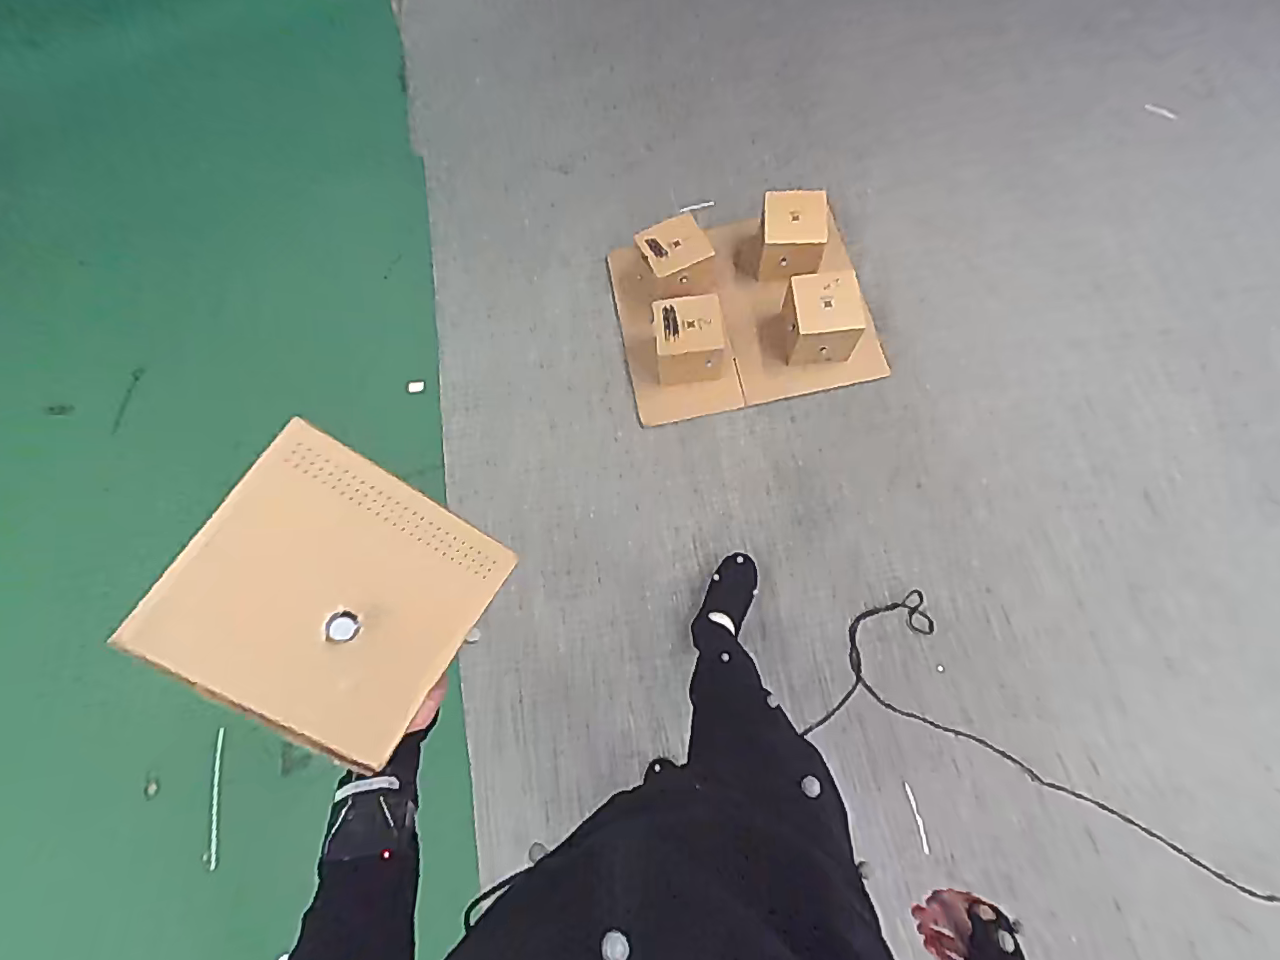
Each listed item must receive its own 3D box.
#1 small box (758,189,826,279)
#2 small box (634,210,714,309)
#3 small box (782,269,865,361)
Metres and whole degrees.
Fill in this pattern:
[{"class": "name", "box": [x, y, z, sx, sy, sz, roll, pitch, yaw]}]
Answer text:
[{"class": "small box", "box": [0.427, -0.688, 1.531, 0.168, 0.176, 0.179, 2, 72, 7]}, {"class": "small box", "box": [0.100, -0.621, 1.546, 0.179, 0.176, 0.168, -25, 72, -3]}, {"class": "small box", "box": [0.481, -0.432, 1.444, 0.168, 0.176, 0.179, -4, 72, 4]}]
